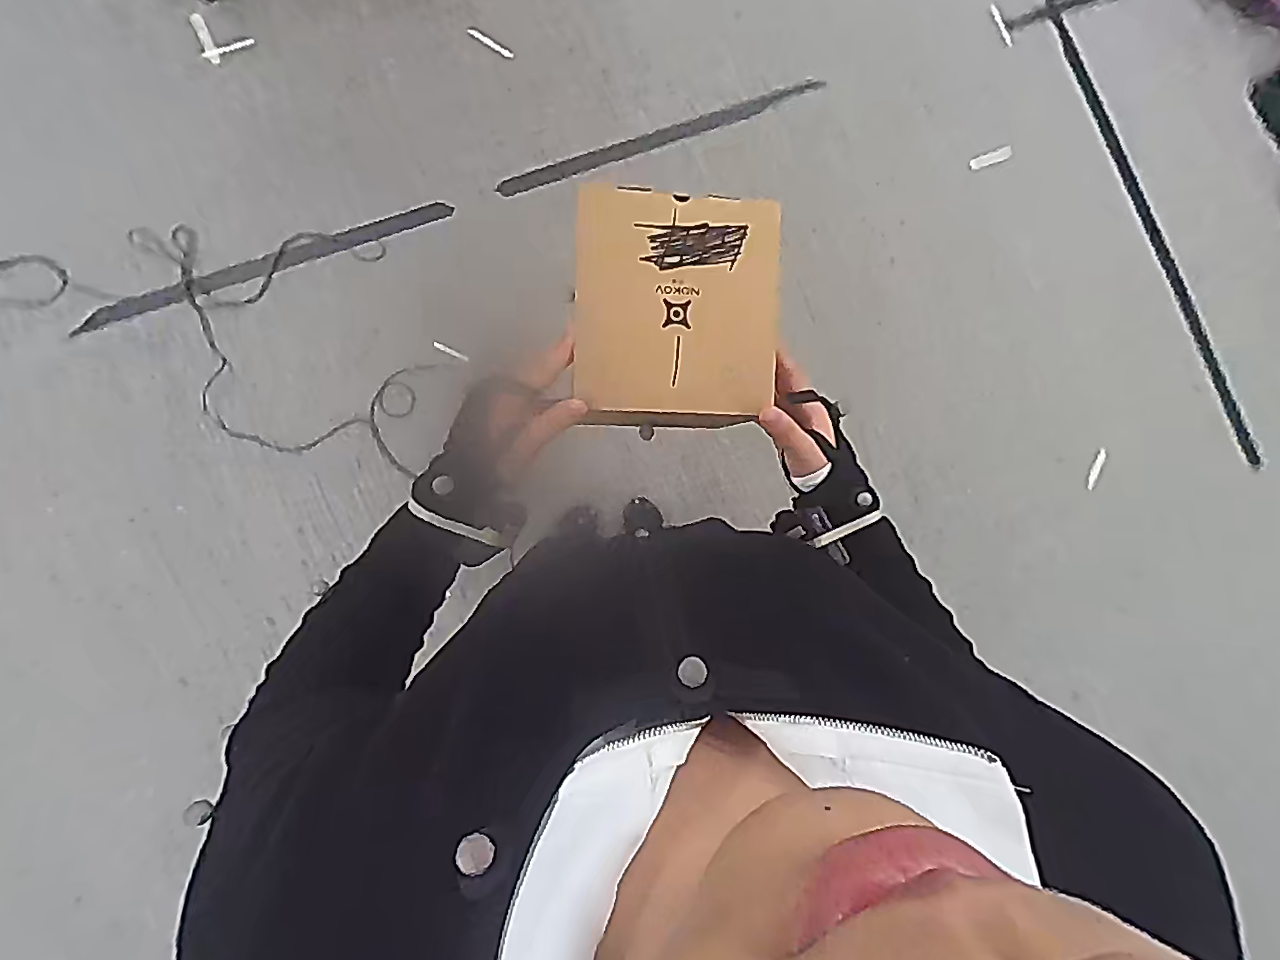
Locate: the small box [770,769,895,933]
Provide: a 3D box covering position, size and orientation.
[{"bbox_3d":[0.353,0.646,0.934,0.168,0.176,0.179,-24,87,-8],"label":"small box"}]

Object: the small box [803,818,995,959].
[{"bbox_3d":[0.361,0.624,0.771,0.168,0.176,0.179,-23,86,-8],"label":"small box"}]
